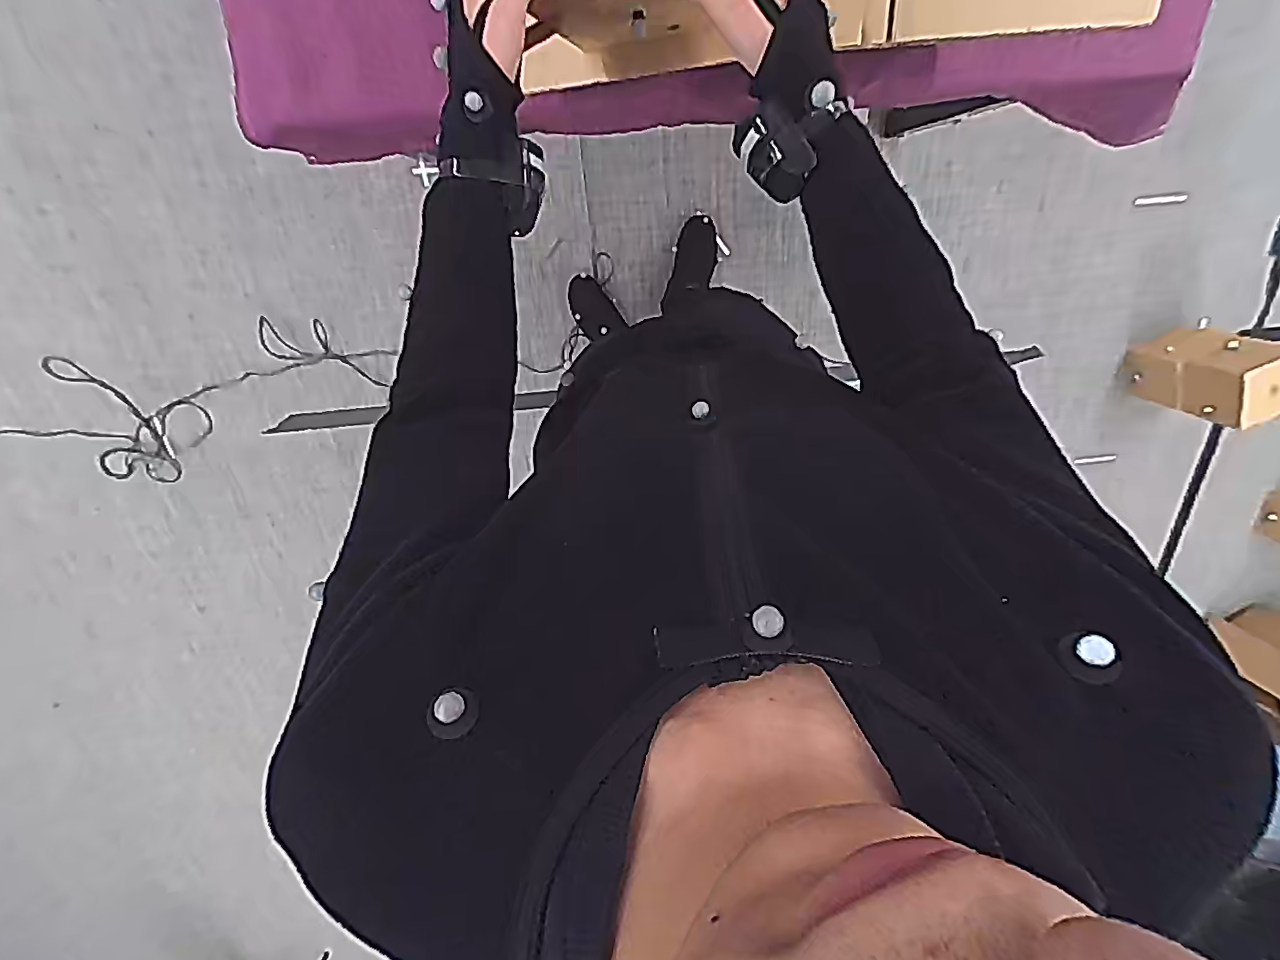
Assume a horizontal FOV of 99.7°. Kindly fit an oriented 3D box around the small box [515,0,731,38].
[{"bbox_3d":[-0.013,-0.500,0.451,0.168,0.176,0.179,2,118,15],"label":"small box"}]
